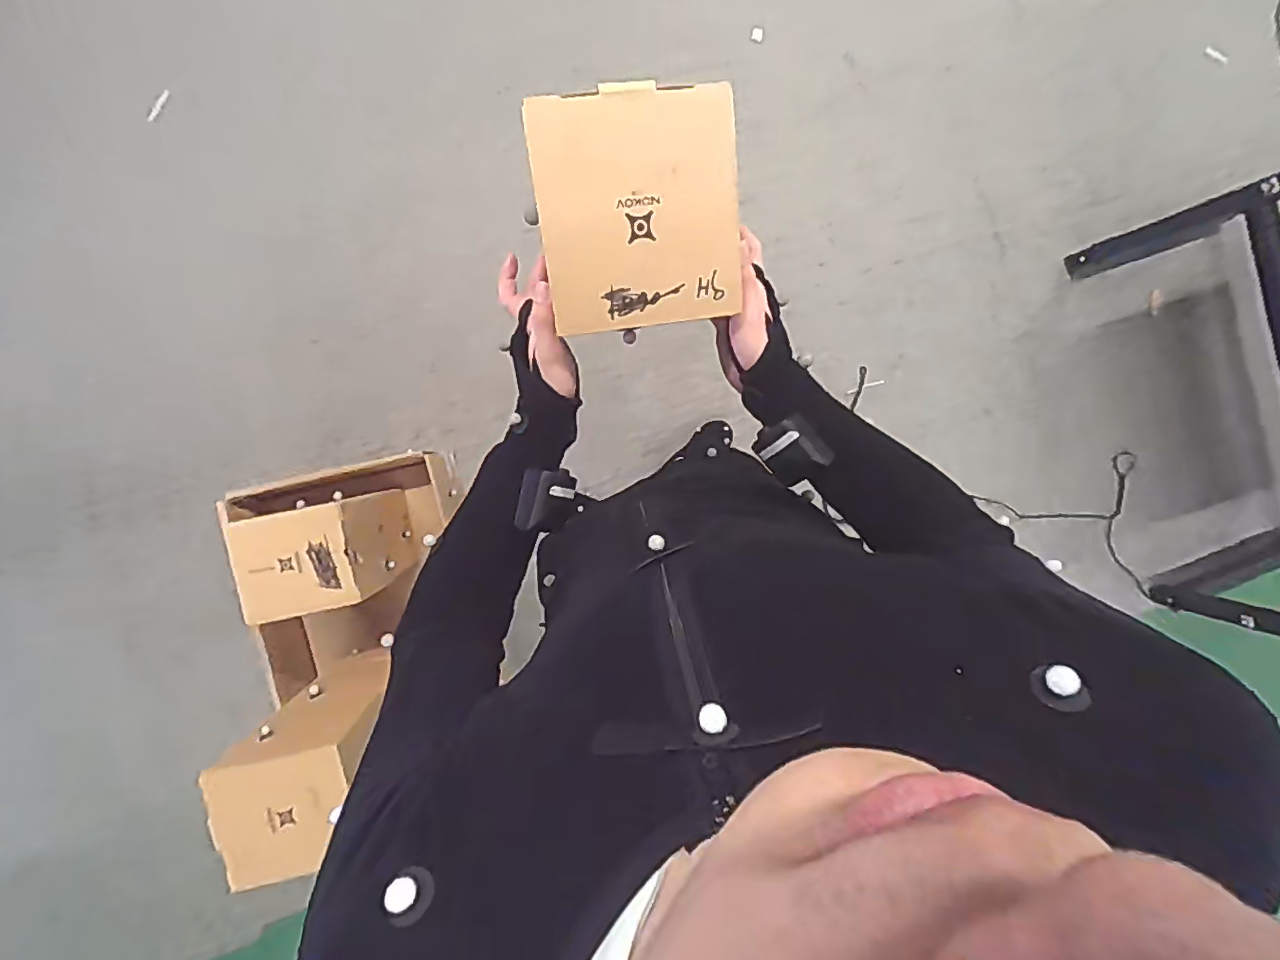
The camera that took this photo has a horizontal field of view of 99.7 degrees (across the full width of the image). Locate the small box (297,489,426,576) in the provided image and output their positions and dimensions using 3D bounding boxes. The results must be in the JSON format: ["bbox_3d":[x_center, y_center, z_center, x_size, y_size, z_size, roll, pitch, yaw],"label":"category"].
[{"bbox_3d":[-0.561,0.117,1.093,0.179,0.176,0.168,-13,94,-4],"label":"small box"}]

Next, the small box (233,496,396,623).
[{"bbox_3d":[-0.541,0.126,0.930,0.179,0.176,0.168,-12,93,-4],"label":"small box"}]

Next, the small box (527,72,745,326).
[{"bbox_3d":[-0.007,-0.246,0.511,0.168,0.176,0.179,-8,109,-4],"label":"small box"}]

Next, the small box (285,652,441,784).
[{"bbox_3d":[-0.473,0.423,0.949,0.179,0.176,0.168,-11,94,-4],"label":"small box"}]

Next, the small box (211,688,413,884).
[{"bbox_3d":[-0.461,0.430,0.787,0.179,0.176,0.168,-12,95,-4],"label":"small box"}]
